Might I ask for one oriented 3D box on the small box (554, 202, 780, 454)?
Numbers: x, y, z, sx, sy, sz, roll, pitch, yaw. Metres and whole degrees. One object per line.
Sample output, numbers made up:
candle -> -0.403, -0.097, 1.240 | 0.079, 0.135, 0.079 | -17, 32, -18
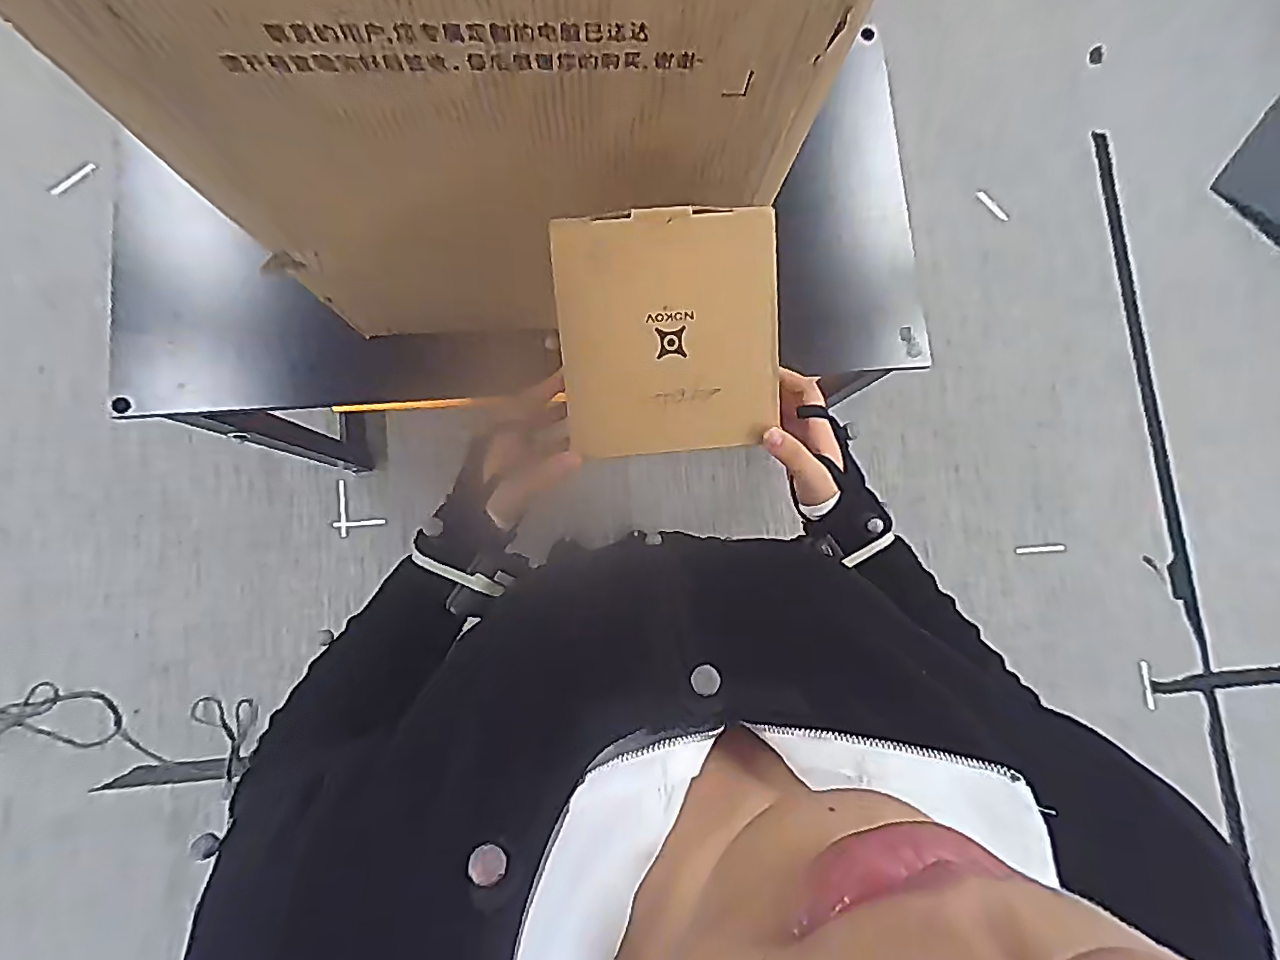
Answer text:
small box -> 0.016, -0.126, 0.480 | 0.168, 0.176, 0.179 | -5, 102, -4
